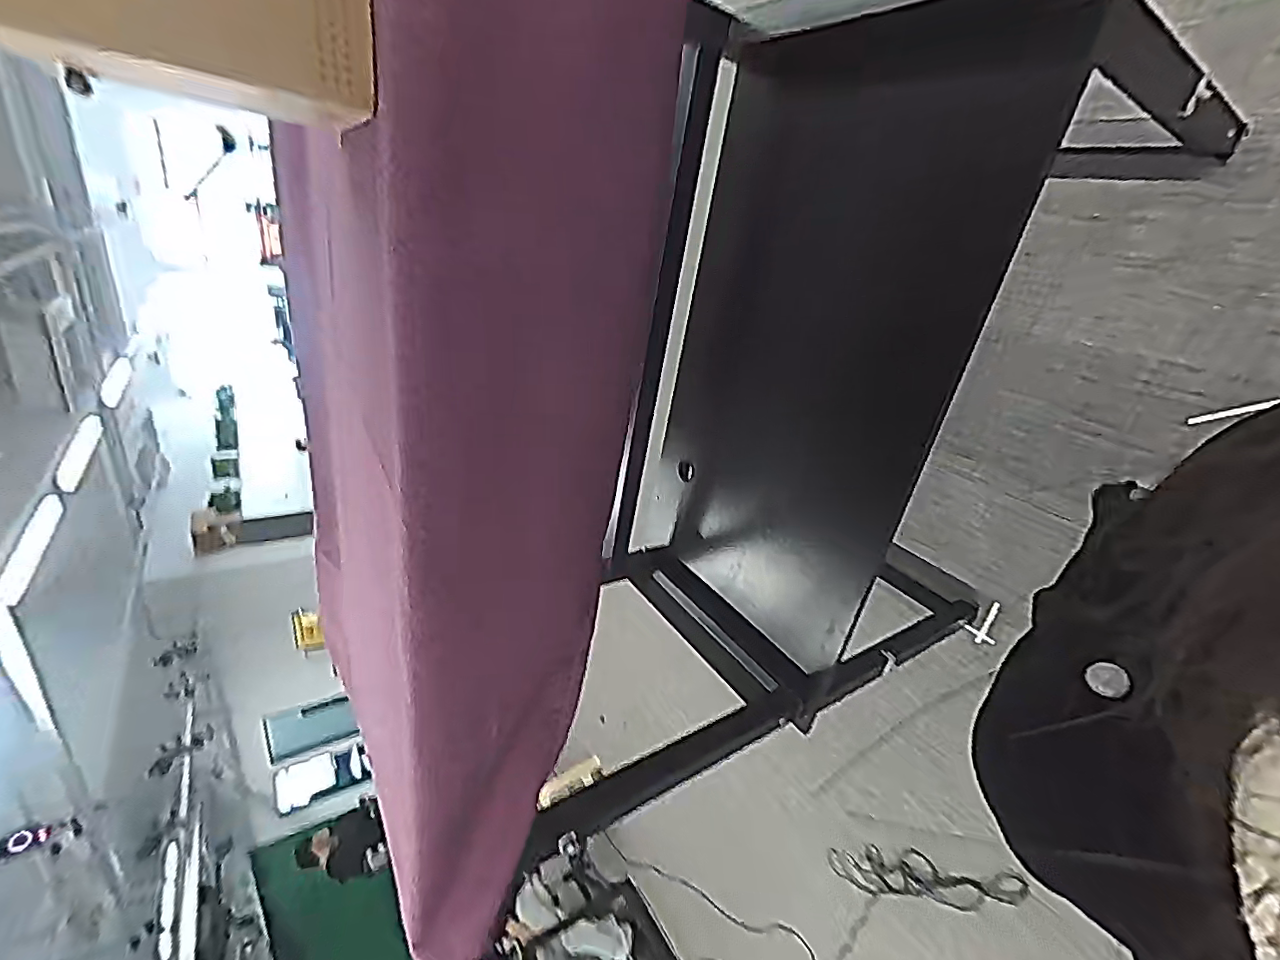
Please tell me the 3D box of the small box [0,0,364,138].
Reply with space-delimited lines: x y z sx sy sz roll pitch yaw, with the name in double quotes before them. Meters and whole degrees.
"small box" -0.259 -0.311 0.296 0.168 0.176 0.179 37 126 48
